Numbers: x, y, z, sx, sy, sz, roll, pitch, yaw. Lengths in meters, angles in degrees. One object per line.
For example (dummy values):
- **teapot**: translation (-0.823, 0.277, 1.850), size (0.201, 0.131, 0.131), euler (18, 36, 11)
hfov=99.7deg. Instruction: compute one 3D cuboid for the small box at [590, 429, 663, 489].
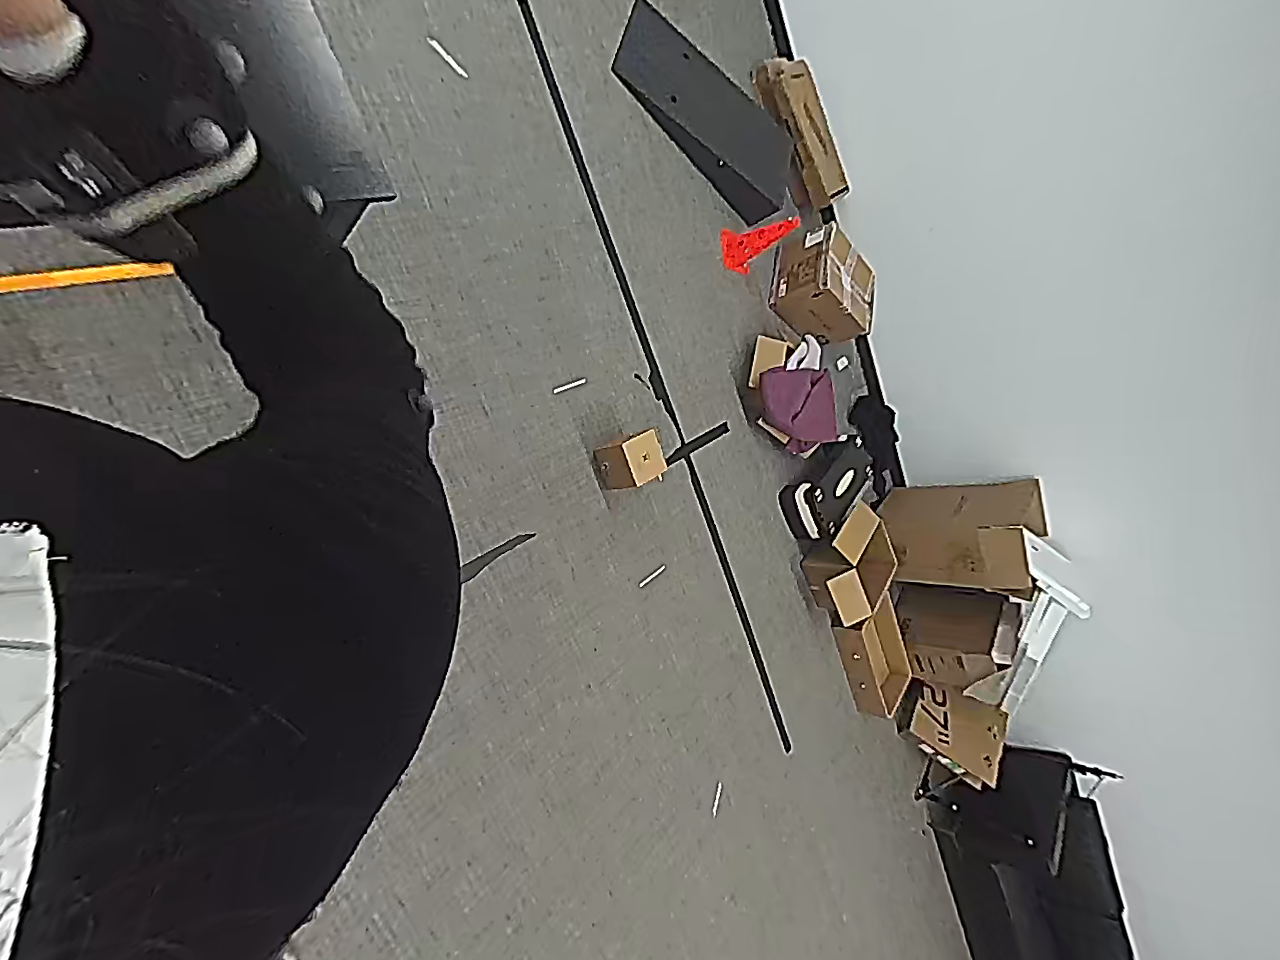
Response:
- **small box**: translation (-0.051, -0.075, 1.986), size (0.179, 0.176, 0.168), euler (-30, 105, -40)
